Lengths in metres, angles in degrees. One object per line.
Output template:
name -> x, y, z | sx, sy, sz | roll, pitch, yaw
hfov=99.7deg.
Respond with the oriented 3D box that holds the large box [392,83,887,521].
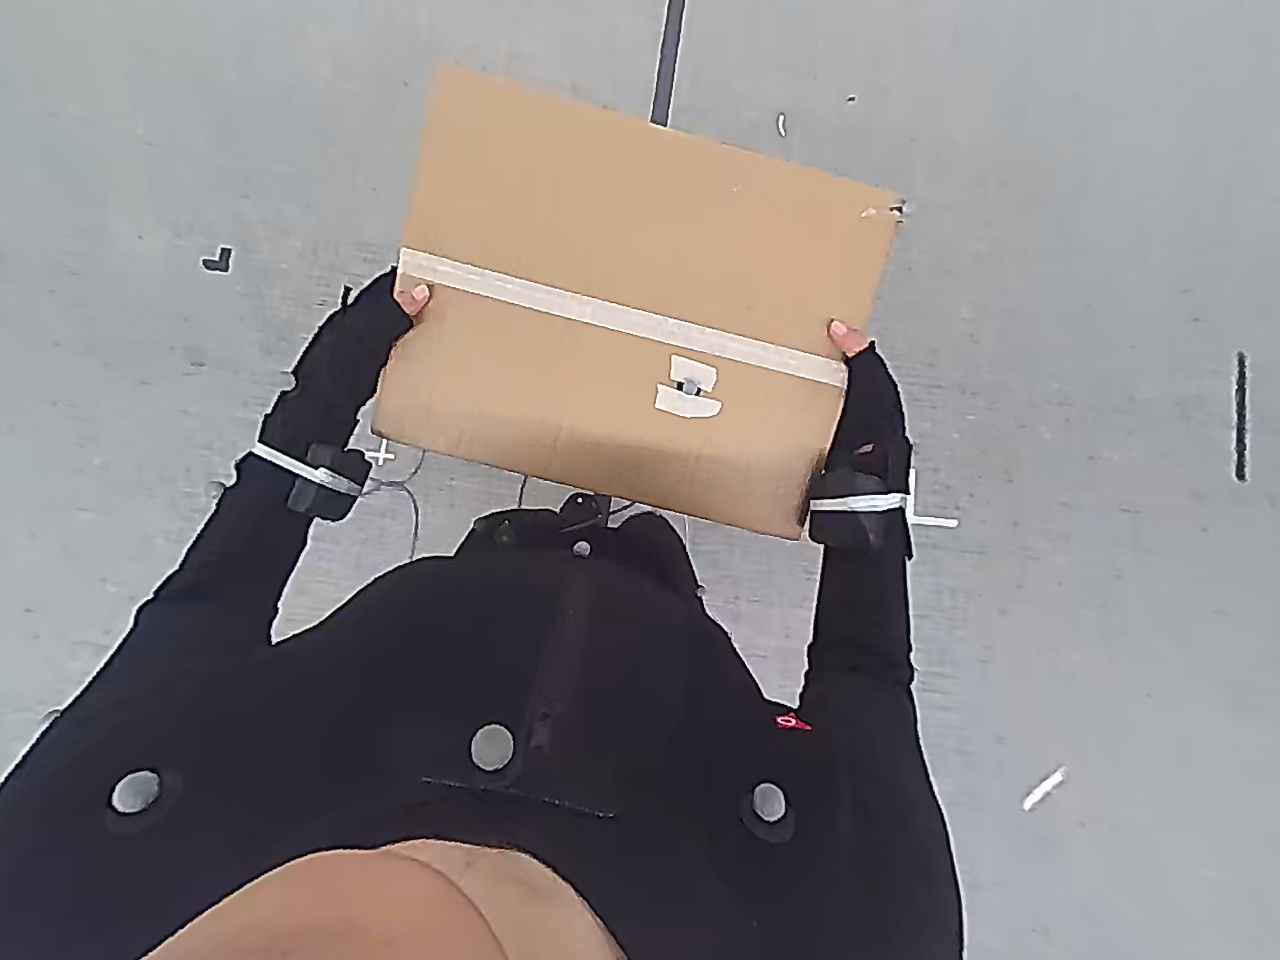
large box -> -0.011, -0.174, 0.639 | 0.408, 0.320, 0.320 | 14, 100, -4
